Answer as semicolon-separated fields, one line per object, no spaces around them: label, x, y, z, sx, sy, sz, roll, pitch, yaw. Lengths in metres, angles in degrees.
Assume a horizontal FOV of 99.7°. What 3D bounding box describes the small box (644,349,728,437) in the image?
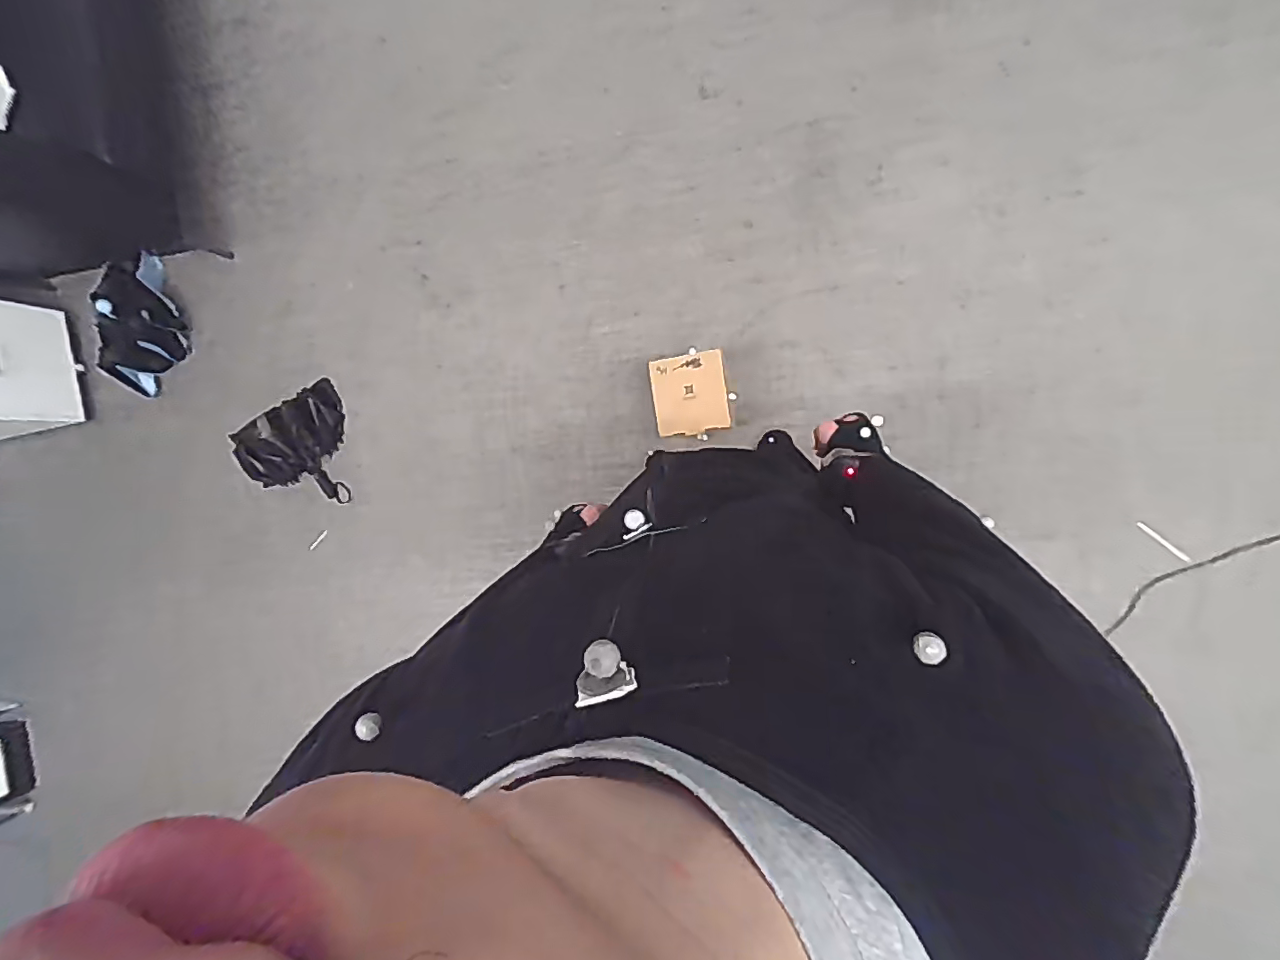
small box;0.116;-0.204;1.296;0.168;0.176;0.179;-8;94;13
